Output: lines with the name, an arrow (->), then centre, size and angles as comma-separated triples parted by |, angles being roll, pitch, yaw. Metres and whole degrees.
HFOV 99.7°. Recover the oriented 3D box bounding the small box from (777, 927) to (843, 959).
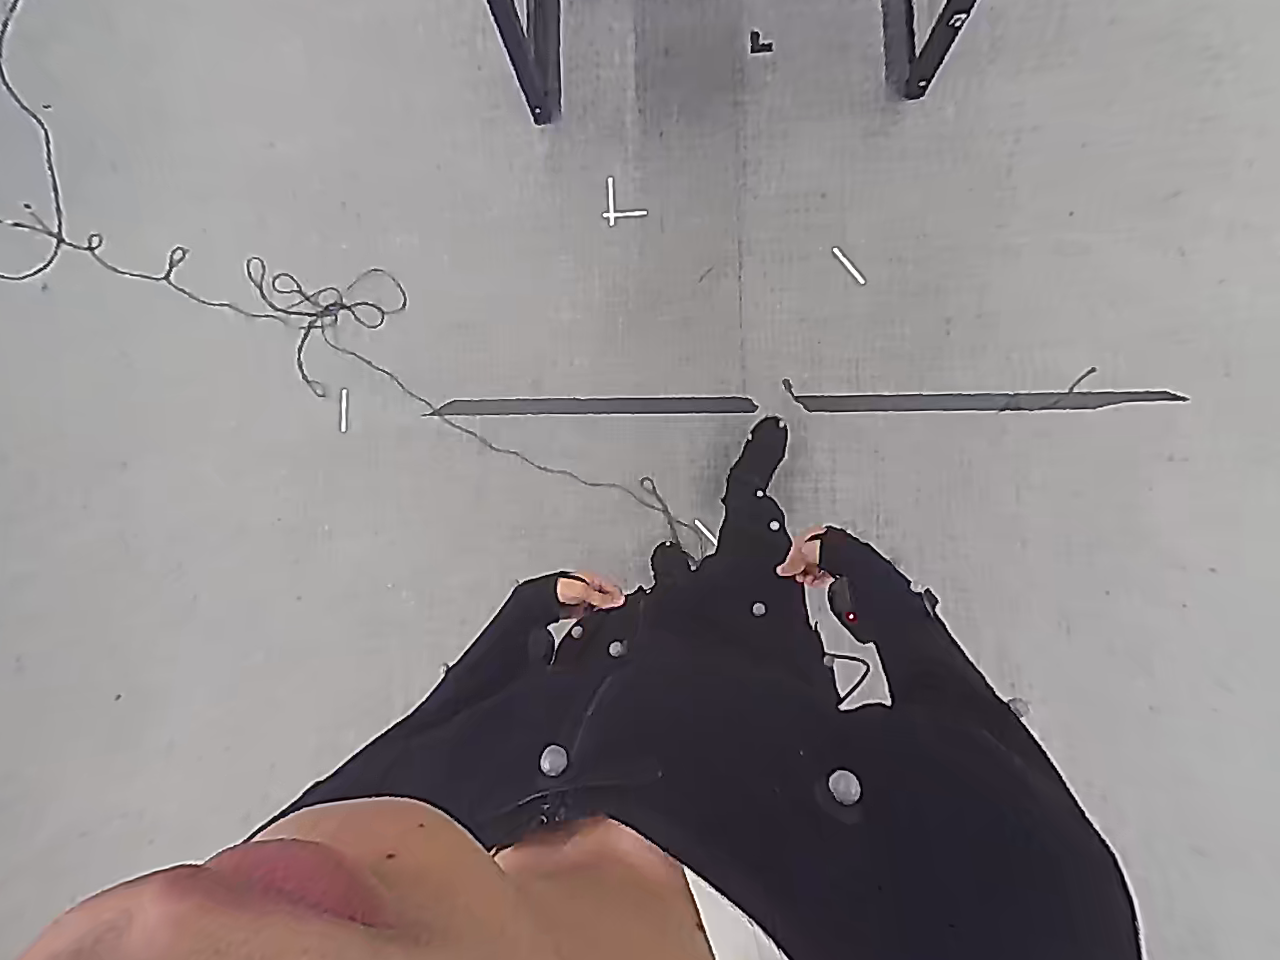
small box -> 0.467, 1.367, 1.459 | 0.168, 0.176, 0.179 | 1, 87, 5
